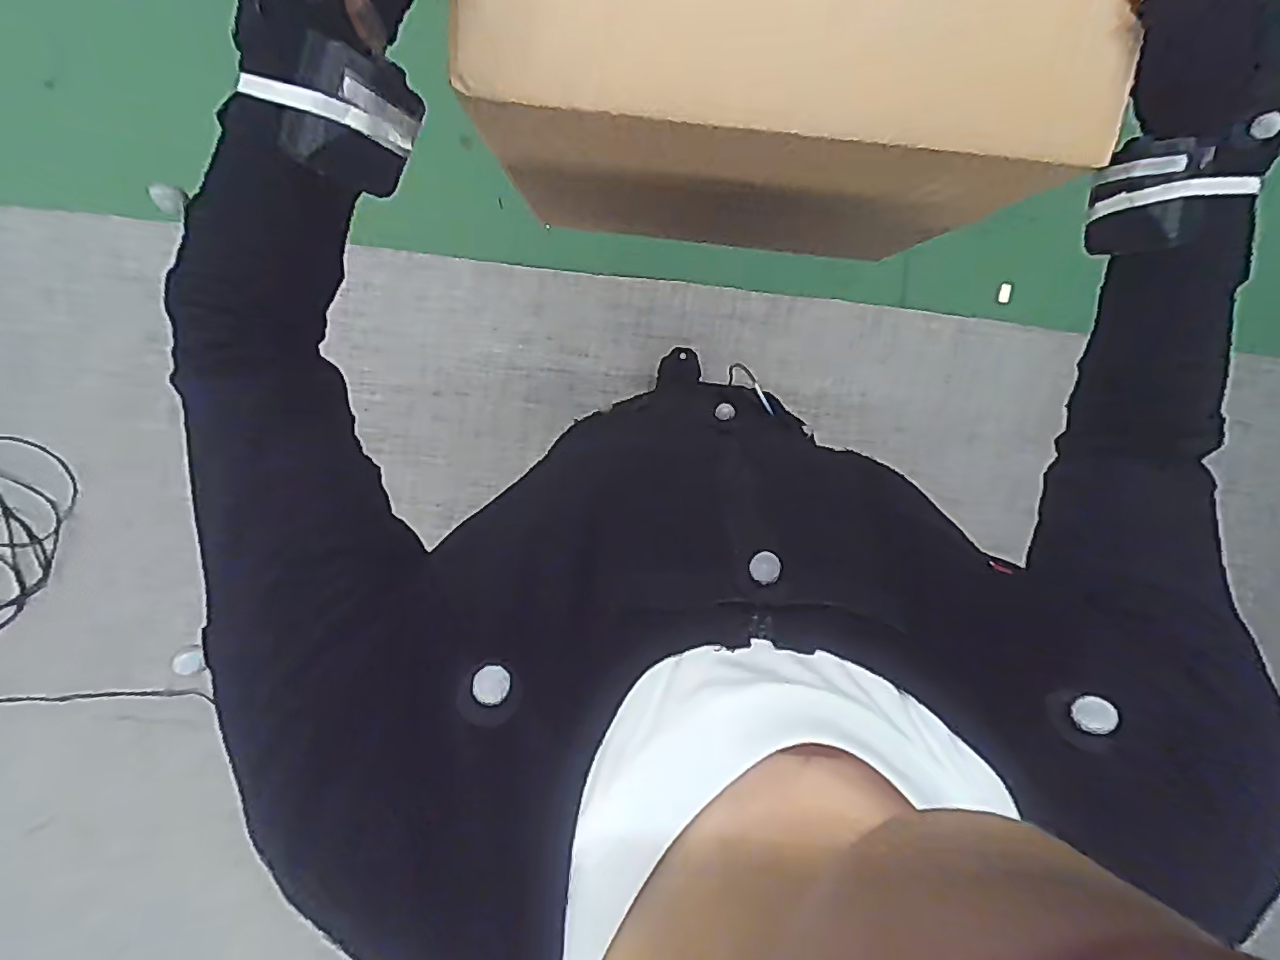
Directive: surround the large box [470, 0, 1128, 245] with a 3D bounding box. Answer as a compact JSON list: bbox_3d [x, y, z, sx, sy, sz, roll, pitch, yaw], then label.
[{"bbox_3d":[0.099,-0.403,0.452,0.408,0.320,0.320,4,103,-2],"label":"large box"}]
